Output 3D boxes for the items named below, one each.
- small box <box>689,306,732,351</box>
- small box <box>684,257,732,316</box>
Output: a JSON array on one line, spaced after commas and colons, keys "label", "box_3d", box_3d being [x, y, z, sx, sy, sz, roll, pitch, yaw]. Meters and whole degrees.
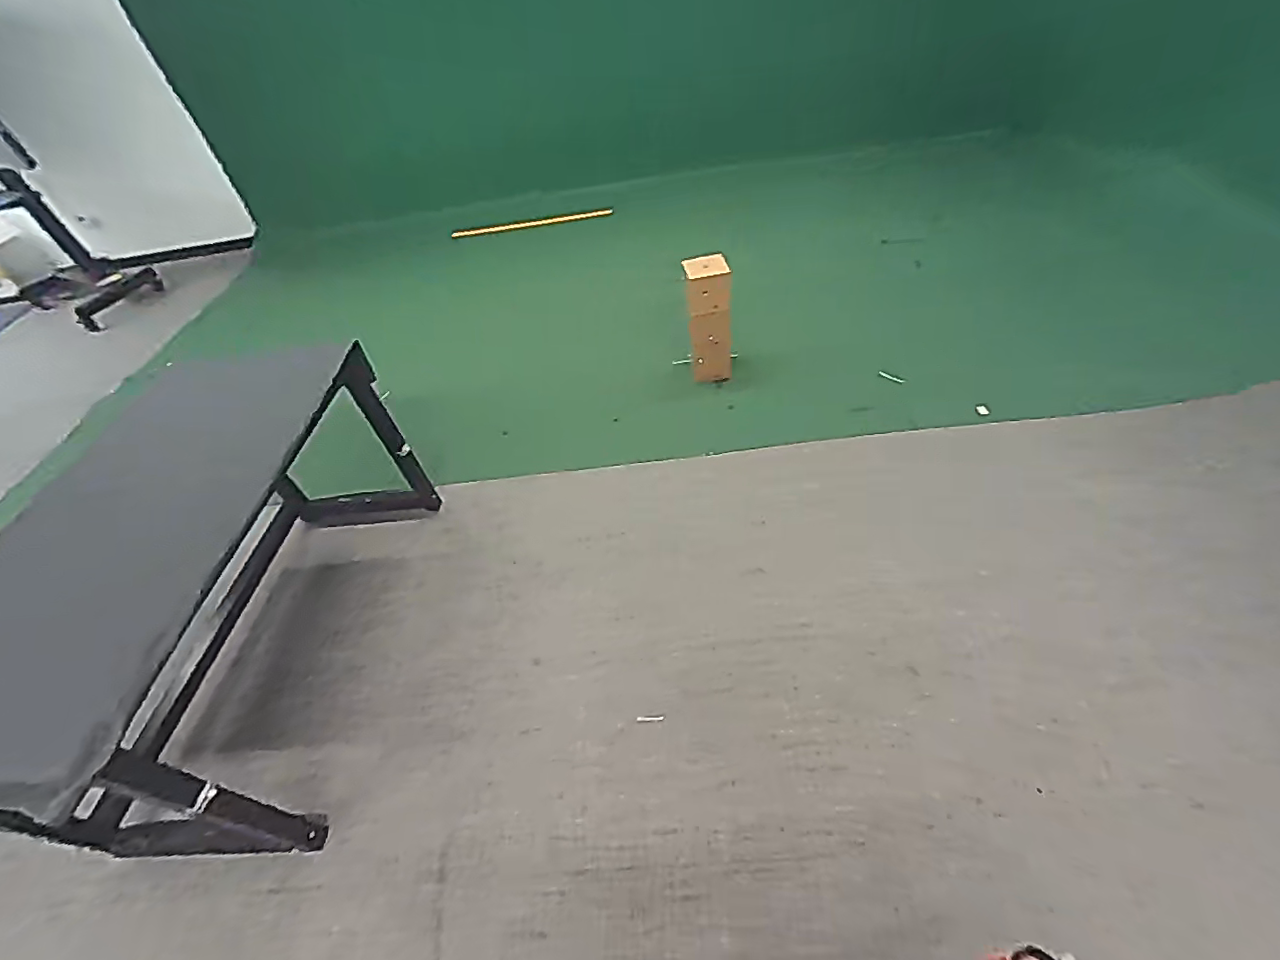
[{"label": "small box", "box_3d": [0.305, -0.686, 2.356, 0.168, 0.176, 0.179, -9, 45, 3]}, {"label": "small box", "box_3d": [0.284, -0.795, 2.238, 0.168, 0.176, 0.179, -10, 44, 1]}]
